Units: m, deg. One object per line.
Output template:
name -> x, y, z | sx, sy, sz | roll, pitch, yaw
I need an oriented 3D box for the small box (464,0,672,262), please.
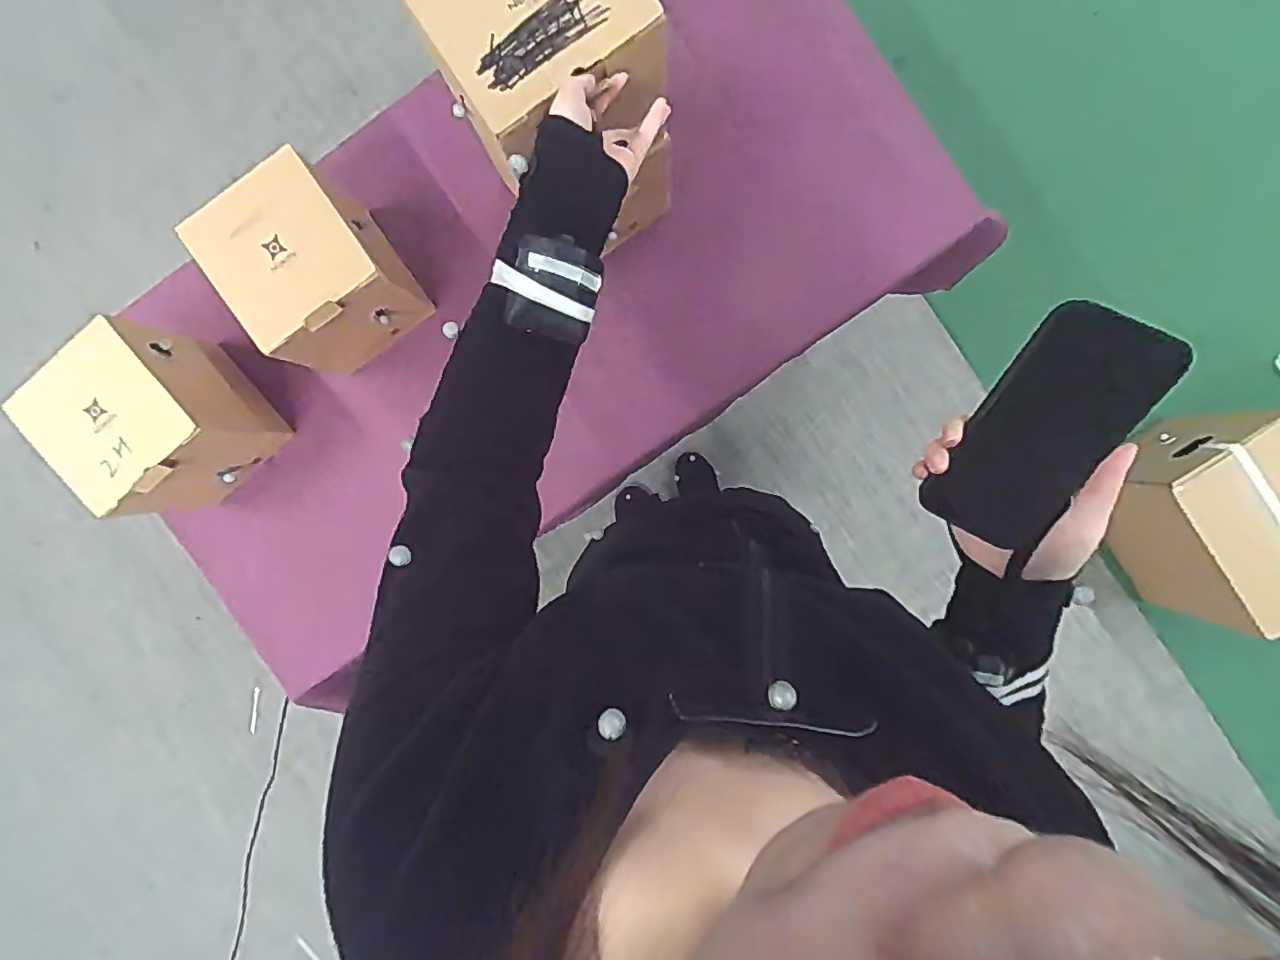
small box -> -0.078, -0.407, 0.667 | 0.168, 0.176, 0.179 | -35, 92, 4

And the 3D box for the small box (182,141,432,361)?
small box -> -0.402, -0.269, 0.688 | 0.168, 0.176, 0.179 | -34, 91, 3

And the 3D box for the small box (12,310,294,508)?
small box -> -0.614, -0.085, 0.707 | 0.168, 0.176, 0.179 | -40, 91, 4
